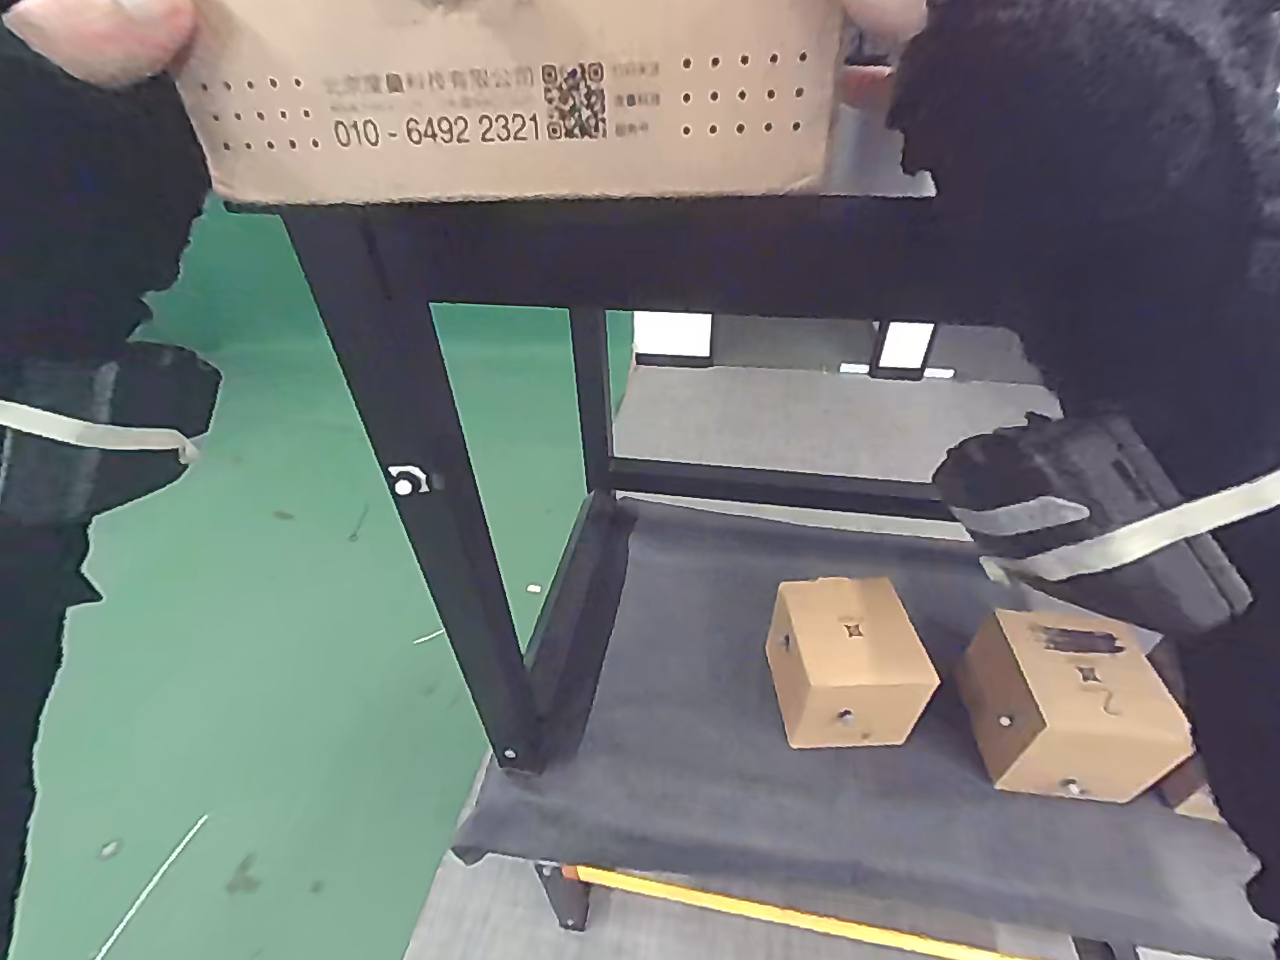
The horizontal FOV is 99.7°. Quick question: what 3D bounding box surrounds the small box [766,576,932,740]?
[{"bbox_3d":[0.290,0.263,0.794,0.168,0.176,0.179,-2,38,0],"label":"small box"}]
